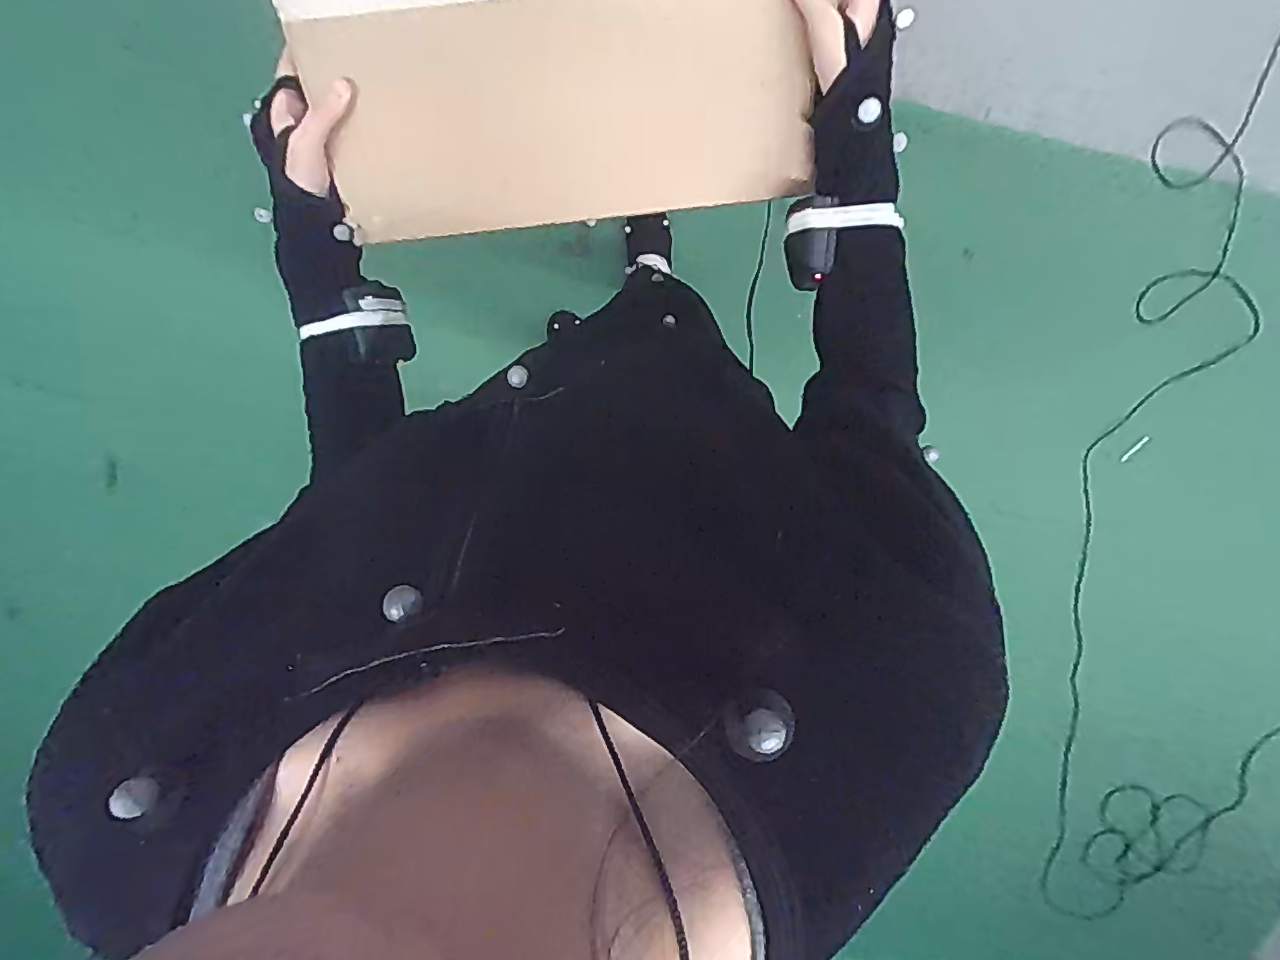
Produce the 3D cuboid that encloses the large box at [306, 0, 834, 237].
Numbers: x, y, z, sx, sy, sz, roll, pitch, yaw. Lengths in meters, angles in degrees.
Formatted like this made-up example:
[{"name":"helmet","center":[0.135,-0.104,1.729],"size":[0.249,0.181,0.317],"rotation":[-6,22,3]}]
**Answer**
[{"name":"large box","center":[-0.057,-0.443,0.529],"size":[0.408,0.320,0.320],"rotation":[-6,120,-2]}]
